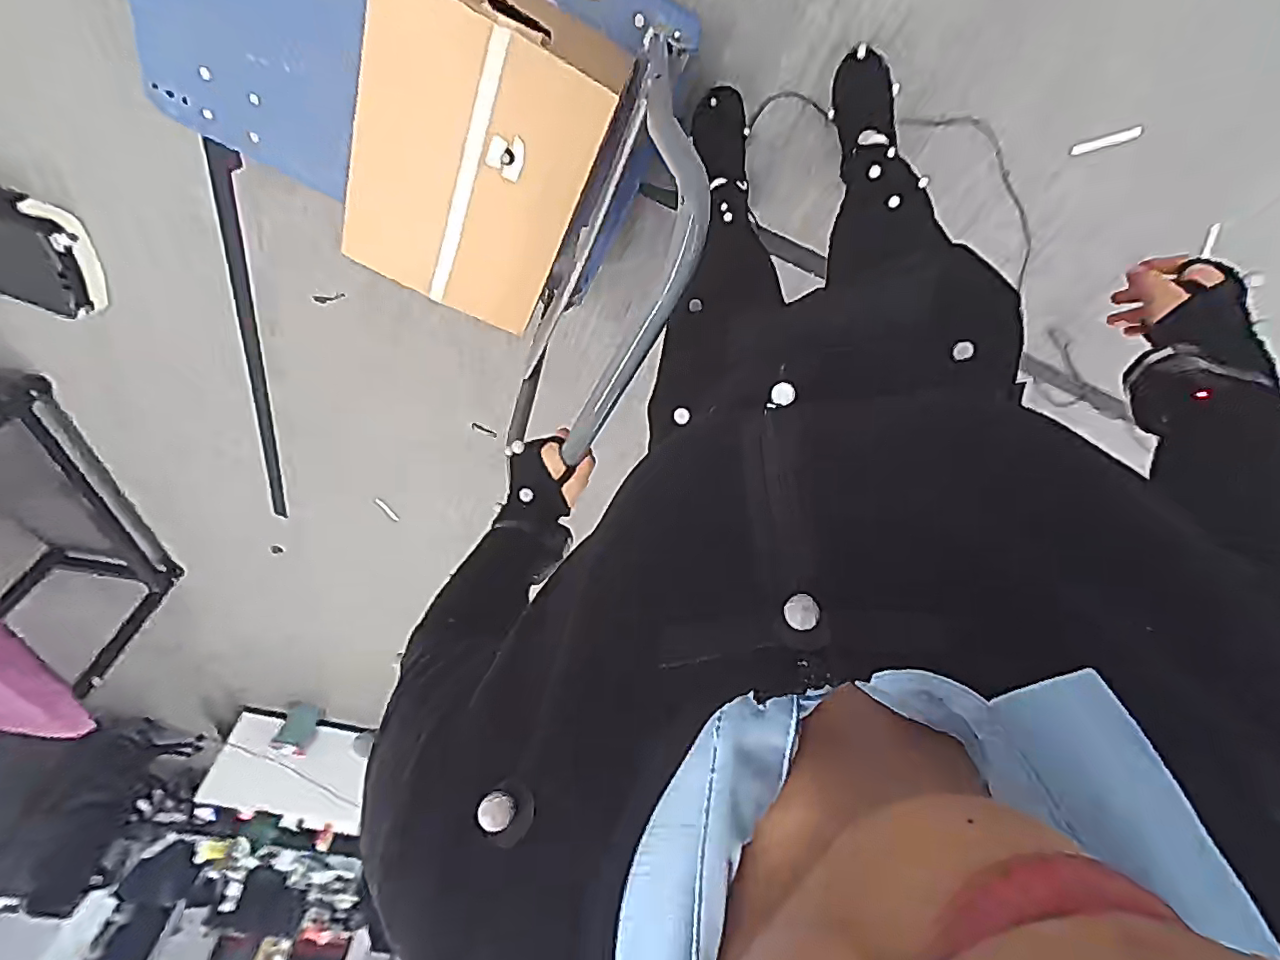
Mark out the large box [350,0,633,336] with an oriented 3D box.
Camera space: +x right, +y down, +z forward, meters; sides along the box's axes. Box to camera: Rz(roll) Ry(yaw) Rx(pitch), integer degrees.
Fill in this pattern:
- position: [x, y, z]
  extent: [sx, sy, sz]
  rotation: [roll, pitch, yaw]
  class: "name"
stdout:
- position: [-0.241, -0.533, 0.899]
  extent: [0.320, 0.320, 0.408]
  rotation: [22, 132, -17]
  class: "large box"
